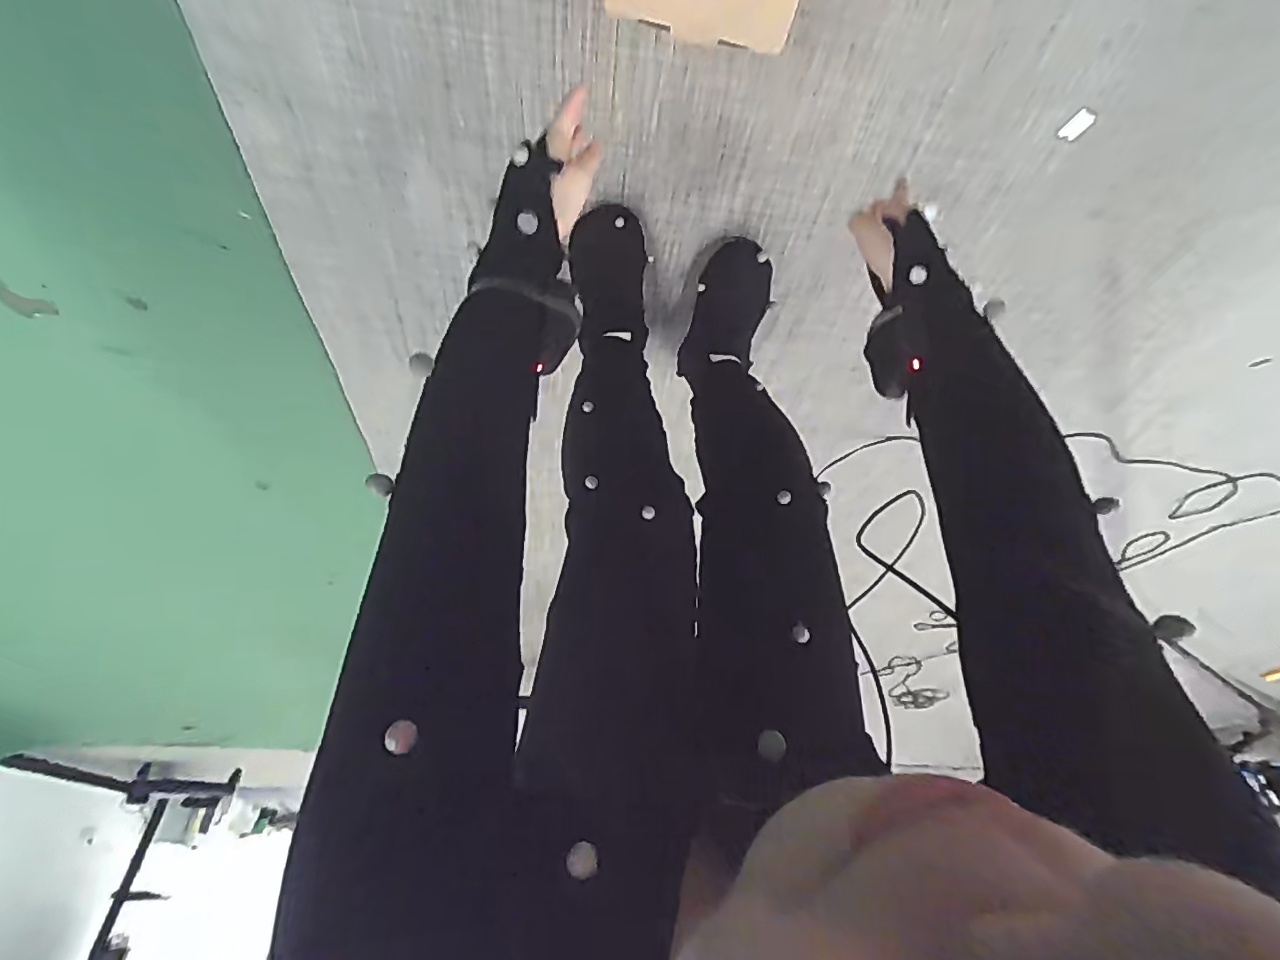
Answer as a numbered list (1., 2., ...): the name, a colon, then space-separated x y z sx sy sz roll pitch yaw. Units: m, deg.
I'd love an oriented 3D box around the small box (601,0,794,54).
1. small box: 0.064 -0.511 0.459 0.168 0.176 0.179 7 142 -9
